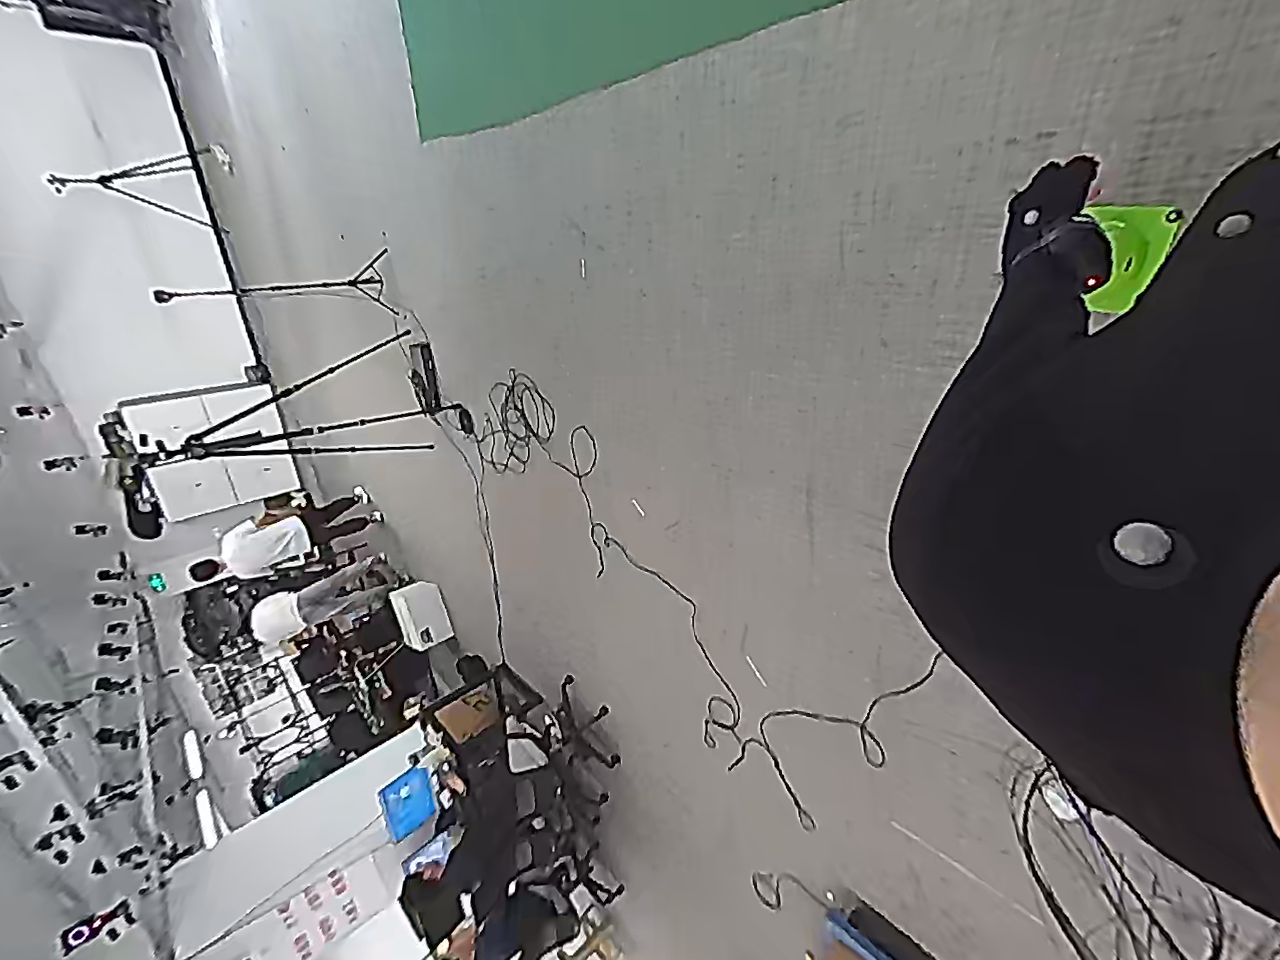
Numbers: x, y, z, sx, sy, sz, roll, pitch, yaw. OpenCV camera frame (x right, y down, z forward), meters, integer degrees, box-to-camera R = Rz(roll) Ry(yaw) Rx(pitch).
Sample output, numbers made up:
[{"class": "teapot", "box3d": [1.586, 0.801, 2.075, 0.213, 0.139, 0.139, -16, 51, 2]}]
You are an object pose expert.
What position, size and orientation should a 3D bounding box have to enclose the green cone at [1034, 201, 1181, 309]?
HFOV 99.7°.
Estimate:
[{"class": "green cone", "box3d": [0.830, -0.409, 1.014, 0.200, 0.368, 0.202, 24, 126, 42]}]
